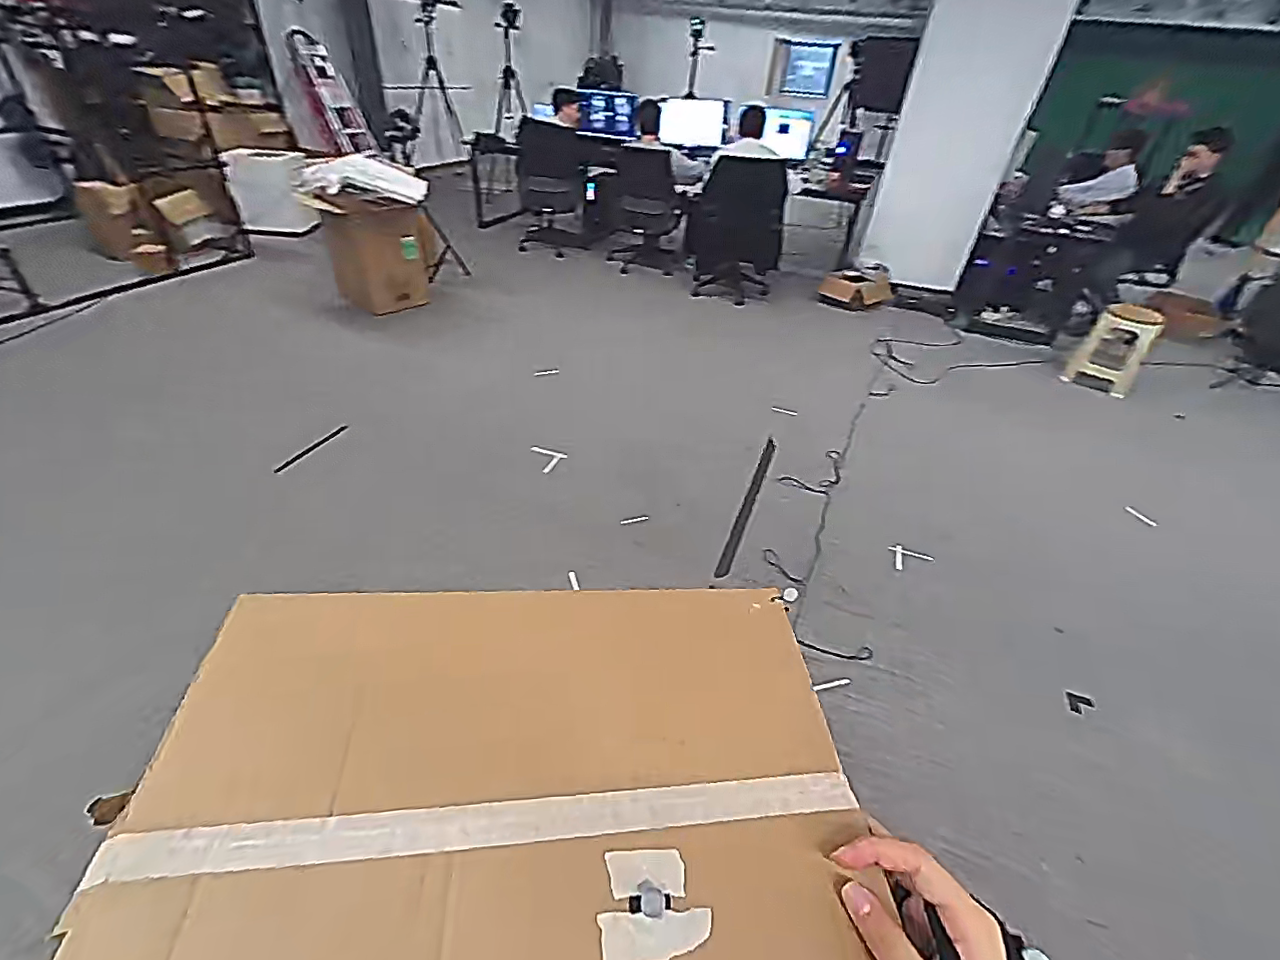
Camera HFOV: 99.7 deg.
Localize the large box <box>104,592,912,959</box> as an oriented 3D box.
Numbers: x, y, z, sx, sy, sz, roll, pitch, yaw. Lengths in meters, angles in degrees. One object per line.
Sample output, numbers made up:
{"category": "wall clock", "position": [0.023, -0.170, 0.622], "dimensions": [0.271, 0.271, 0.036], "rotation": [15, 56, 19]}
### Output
{"category": "large box", "position": [-0.080, 0.302, 0.417], "dimensions": [0.408, 0.320, 0.320], "rotation": [3, 44, -11]}
